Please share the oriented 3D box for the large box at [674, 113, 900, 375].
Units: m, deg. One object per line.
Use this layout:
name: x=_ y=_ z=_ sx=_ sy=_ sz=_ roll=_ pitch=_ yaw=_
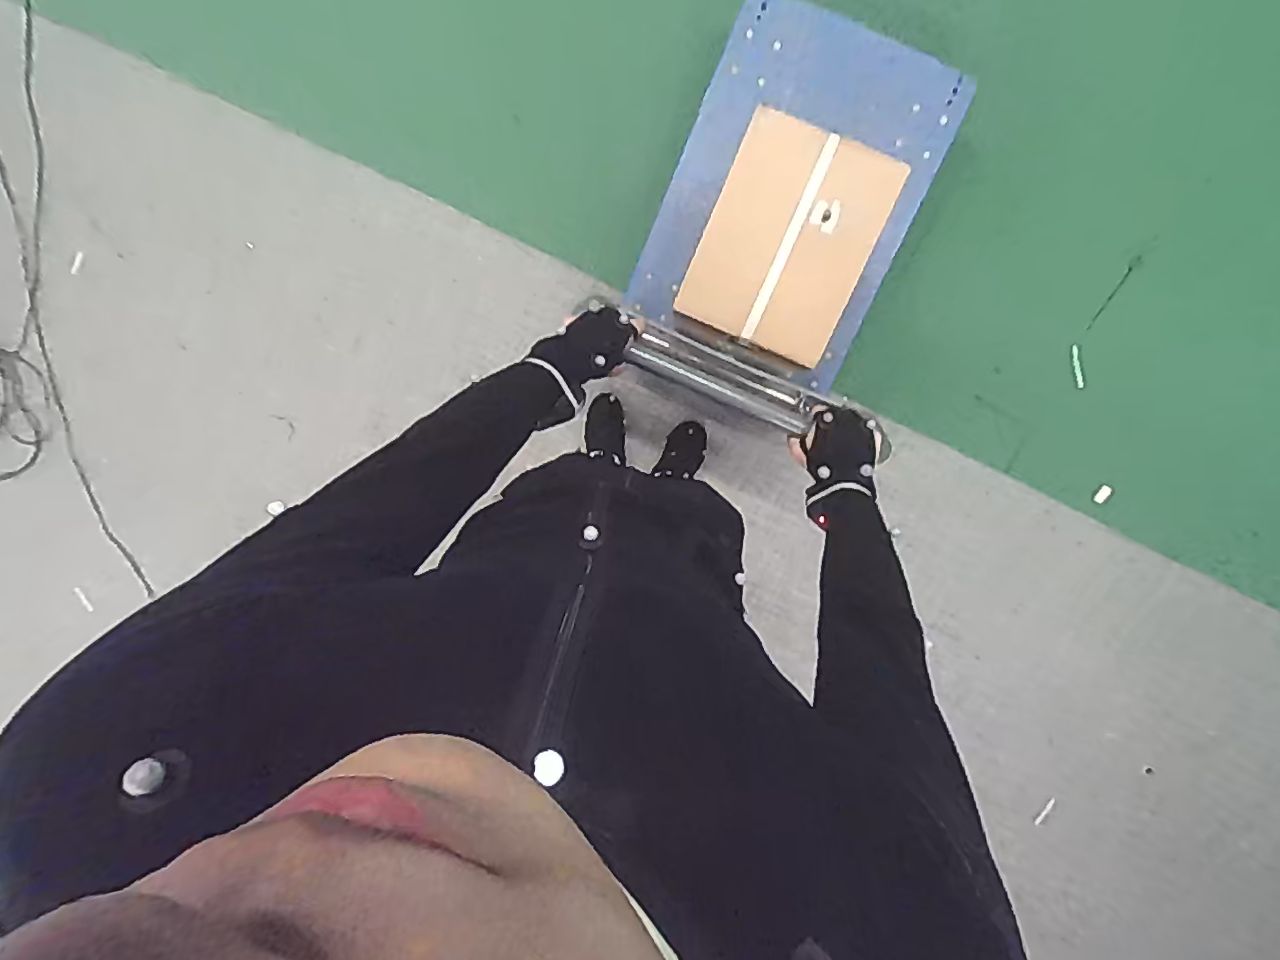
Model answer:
large box: x=0.293 y=-0.482 z=1.203 sx=0.320 sy=0.320 sz=0.408 roll=24 pitch=100 yaw=0
